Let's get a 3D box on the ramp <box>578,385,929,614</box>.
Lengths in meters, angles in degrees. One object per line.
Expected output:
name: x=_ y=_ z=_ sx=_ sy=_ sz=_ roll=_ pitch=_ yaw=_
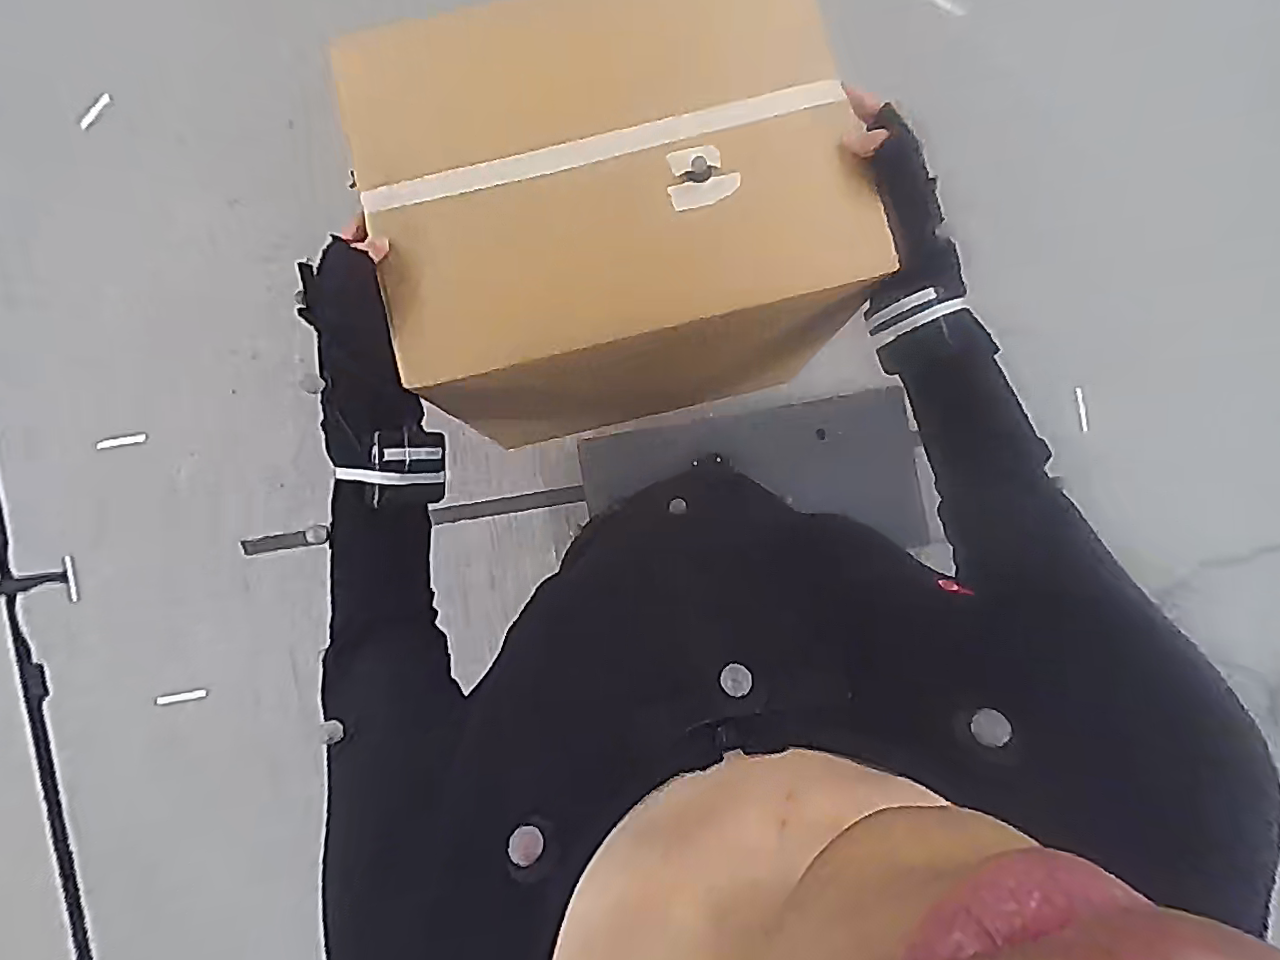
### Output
ramp: x=0.352 y=0.036 z=1.564 sx=0.991 sy=0.206 sz=0.509 roll=-13 pitch=89 yaw=0

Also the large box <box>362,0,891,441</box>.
large box: x=-0.018 y=-0.261 z=0.607 sx=0.408 sy=0.320 sz=0.320 roll=-13 pitch=84 yaw=-1
